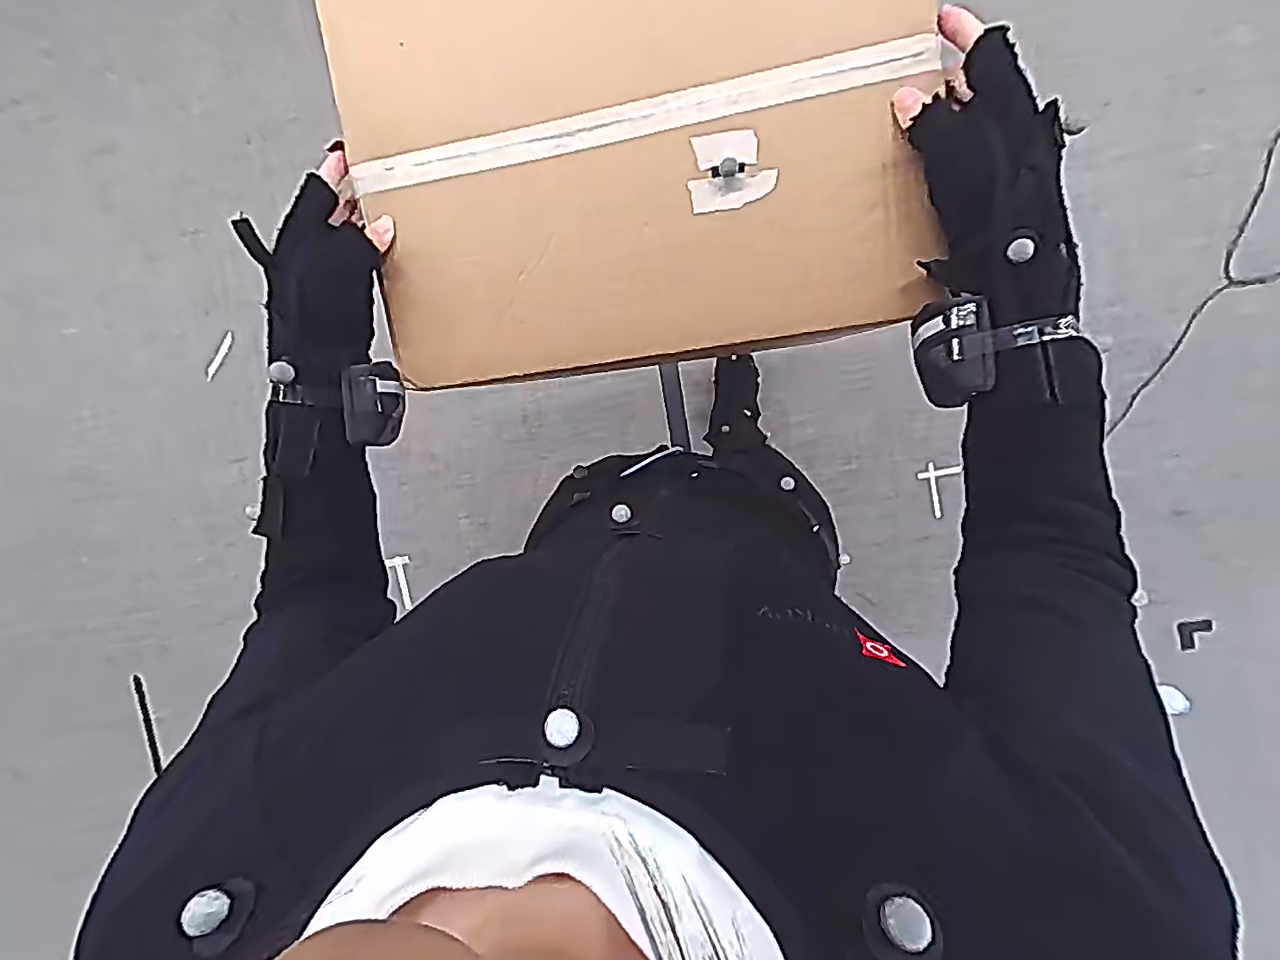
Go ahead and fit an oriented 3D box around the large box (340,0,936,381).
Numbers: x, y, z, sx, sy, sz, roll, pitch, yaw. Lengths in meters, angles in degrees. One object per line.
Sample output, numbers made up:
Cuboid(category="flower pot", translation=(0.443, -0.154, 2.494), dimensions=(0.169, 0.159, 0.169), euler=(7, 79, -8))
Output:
Cuboid(category="large box", translation=(0.010, -0.284, 0.530), dimensions=(0.408, 0.320, 0.320), euler=(-7, 101, 9))
